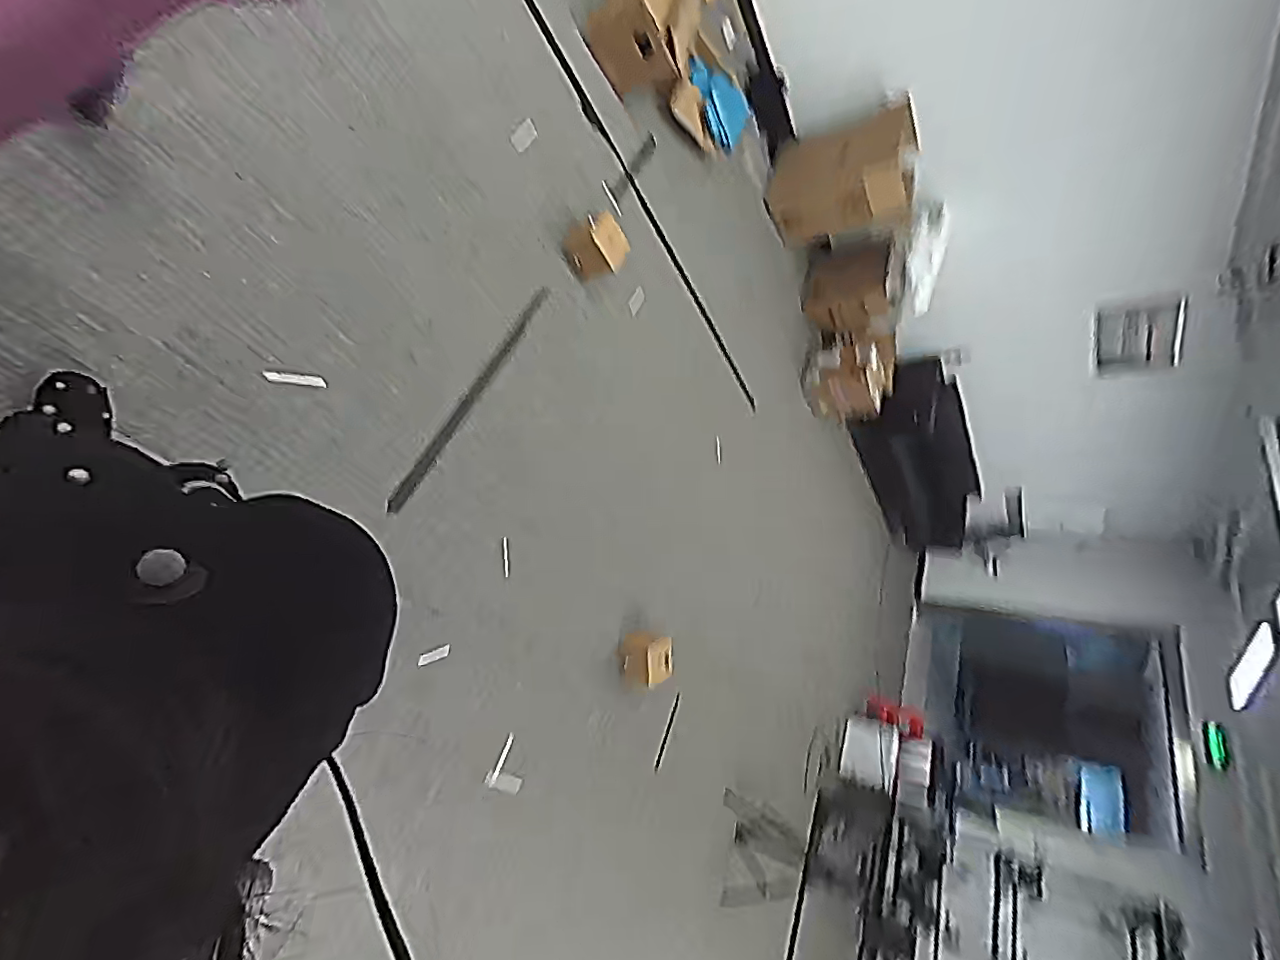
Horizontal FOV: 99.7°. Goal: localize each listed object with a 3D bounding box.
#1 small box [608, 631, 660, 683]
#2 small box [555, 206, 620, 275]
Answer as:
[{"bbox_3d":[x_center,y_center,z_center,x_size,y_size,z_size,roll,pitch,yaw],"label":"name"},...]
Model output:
[{"bbox_3d":[-0.028,0.791,2.435,0.179,0.176,0.168,-6,94,-52],"label":"small box"},{"bbox_3d":[-0.215,-0.962,2.182,0.168,0.176,0.179,49,53,-40],"label":"small box"}]
